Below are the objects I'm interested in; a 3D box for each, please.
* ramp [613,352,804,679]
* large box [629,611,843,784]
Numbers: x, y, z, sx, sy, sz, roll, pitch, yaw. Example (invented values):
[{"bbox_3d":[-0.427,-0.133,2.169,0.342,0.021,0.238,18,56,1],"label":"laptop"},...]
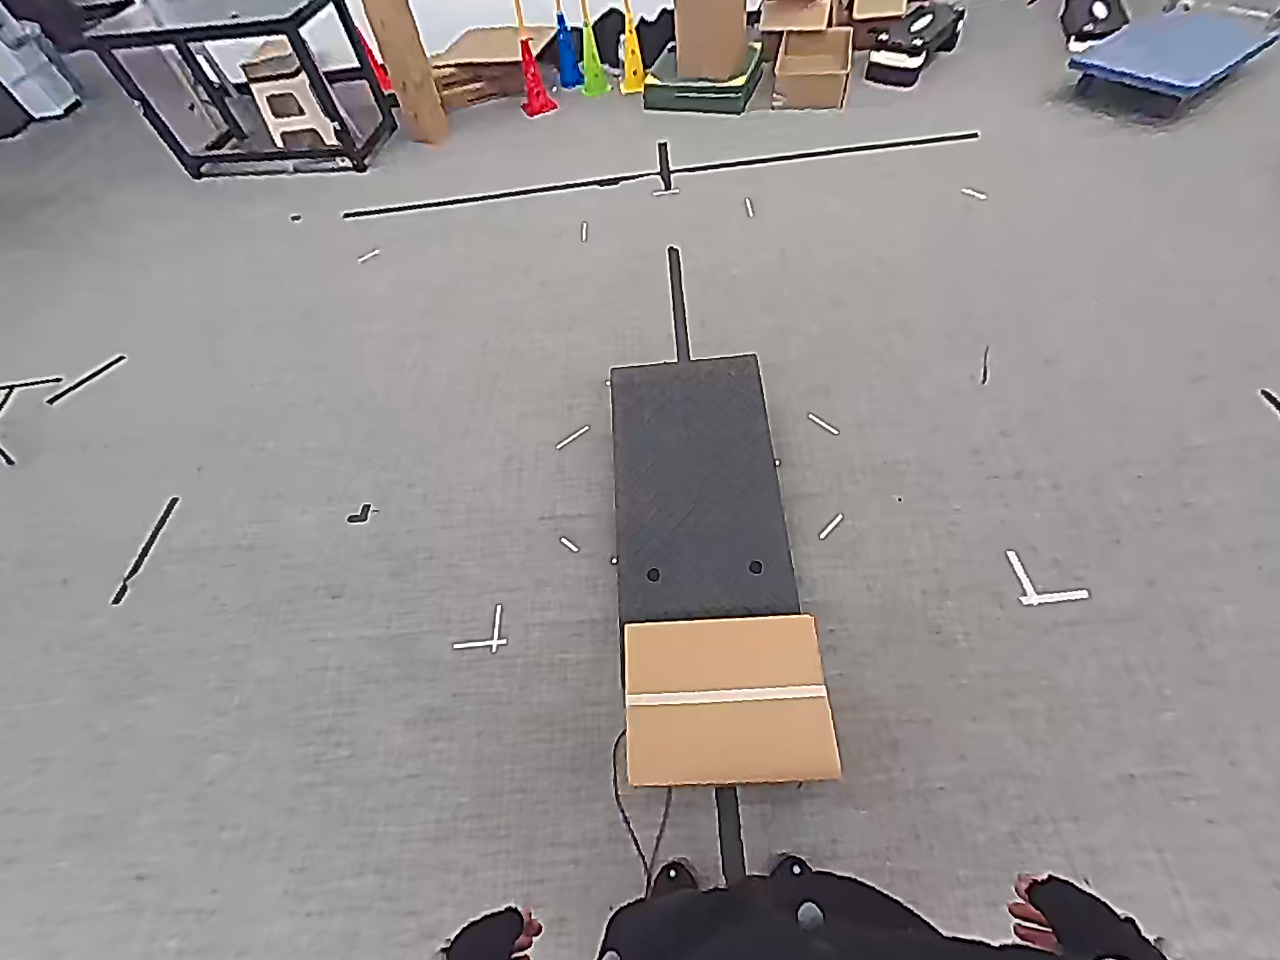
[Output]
[{"bbox_3d":[0.180,0.055,1.612,0.509,0.206,0.991,-6,56,2],"label":"ramp"},{"bbox_3d":[0.197,0.505,1.231,0.408,0.320,0.320,-5,59,4],"label":"large box"}]
